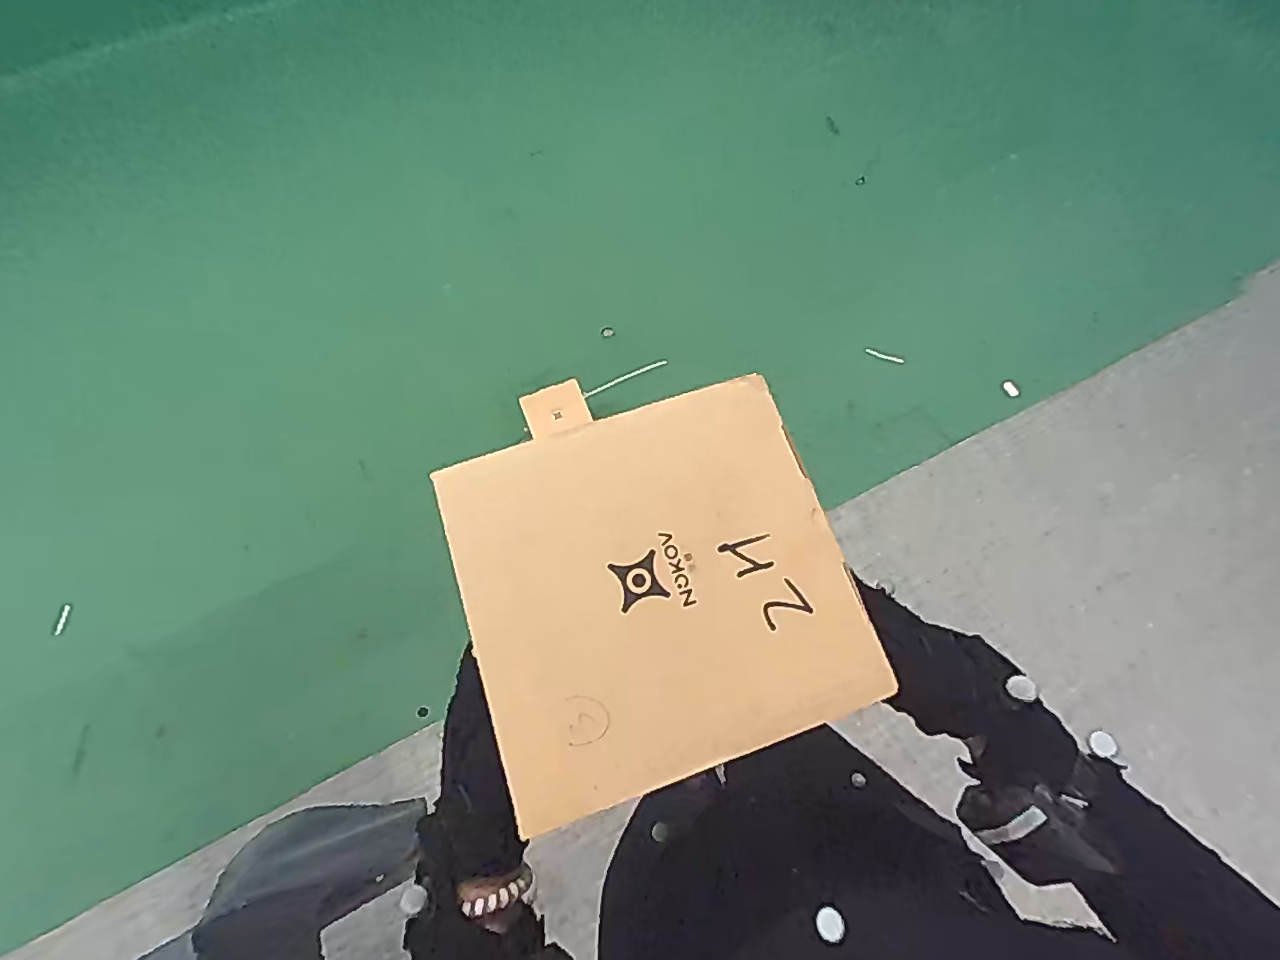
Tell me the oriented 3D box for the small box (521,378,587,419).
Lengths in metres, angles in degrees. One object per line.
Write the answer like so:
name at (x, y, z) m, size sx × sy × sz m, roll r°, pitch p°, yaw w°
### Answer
small box at (-0.213, -0.148, 1.512) m, size 0.168 × 0.176 × 0.179 m, roll -21°, pitch 68°, yaw -7°
